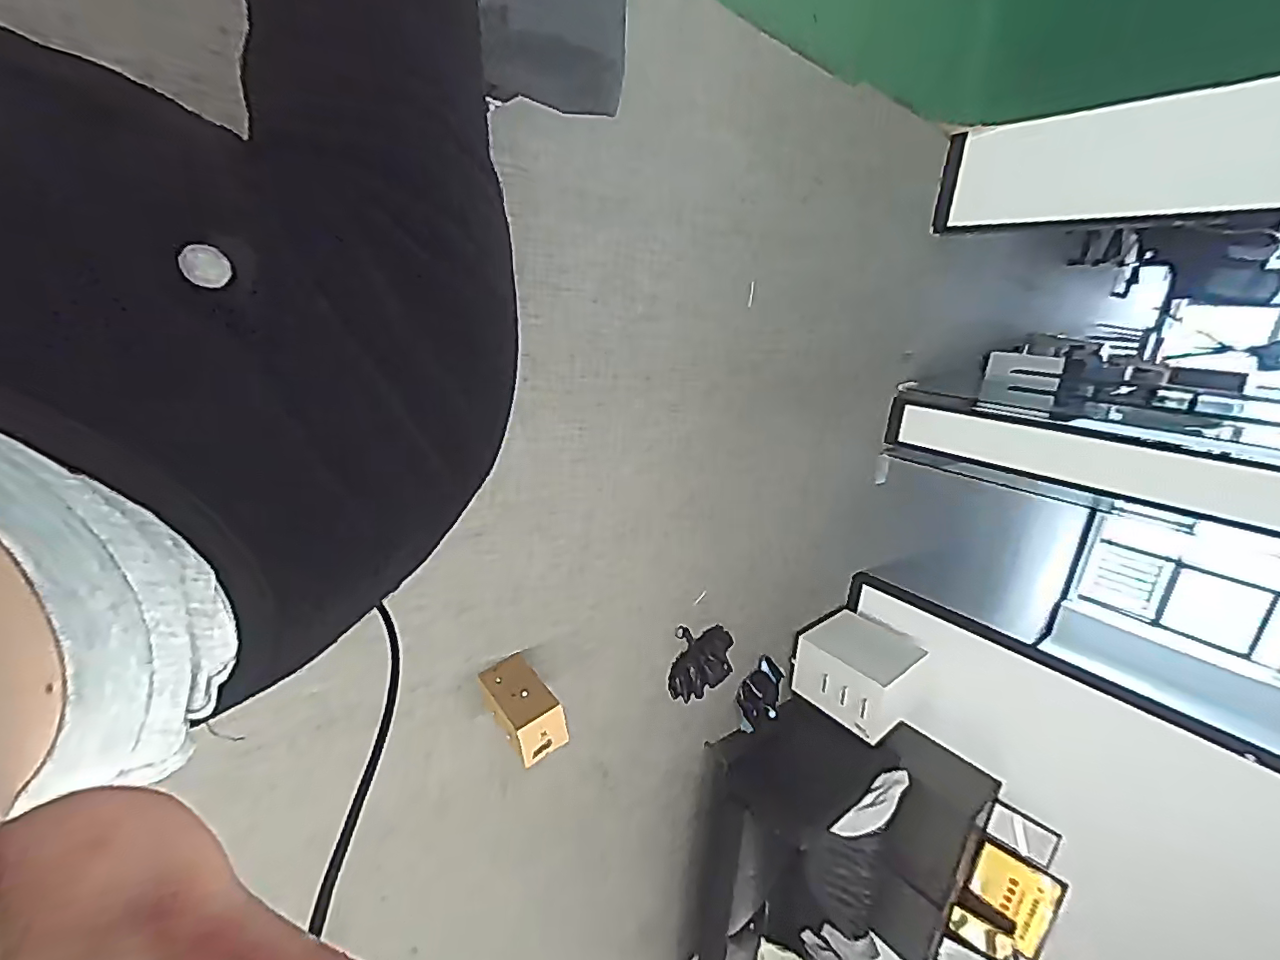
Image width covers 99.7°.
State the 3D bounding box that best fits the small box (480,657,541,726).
[{"bbox_3d":[-0.460,0.769,1.953,0.168,0.176,0.179,-23,122,-31],"label":"small box"}]

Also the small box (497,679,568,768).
[{"bbox_3d":[-0.365,0.816,1.827,0.168,0.176,0.179,-22,119,-32],"label":"small box"}]
